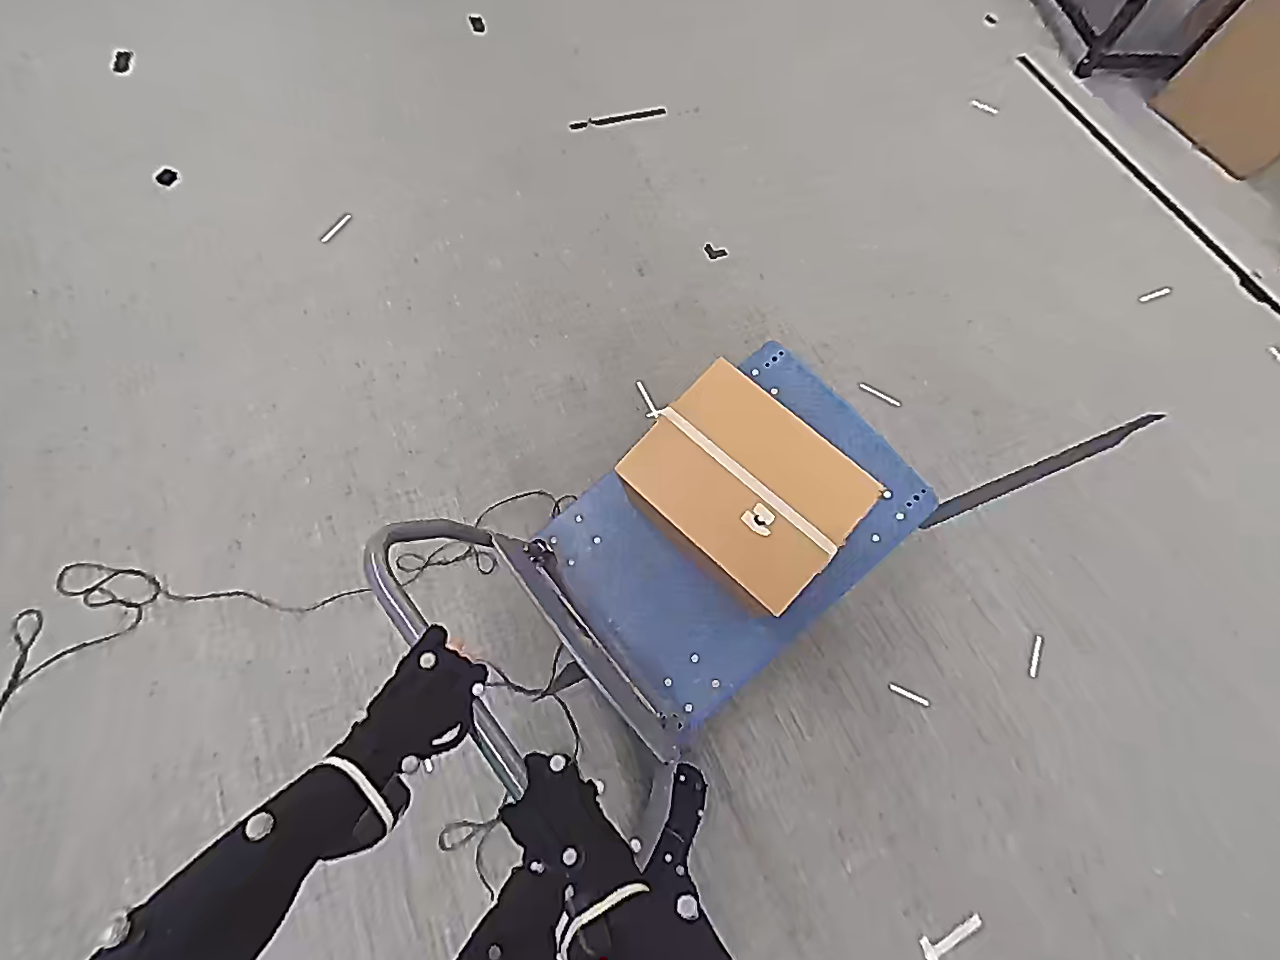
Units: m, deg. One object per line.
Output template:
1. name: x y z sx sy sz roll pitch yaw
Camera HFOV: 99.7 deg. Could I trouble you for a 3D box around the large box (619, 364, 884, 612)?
1. large box: 0.211 0.035 1.157 0.408 0.320 0.320 41 83 12
